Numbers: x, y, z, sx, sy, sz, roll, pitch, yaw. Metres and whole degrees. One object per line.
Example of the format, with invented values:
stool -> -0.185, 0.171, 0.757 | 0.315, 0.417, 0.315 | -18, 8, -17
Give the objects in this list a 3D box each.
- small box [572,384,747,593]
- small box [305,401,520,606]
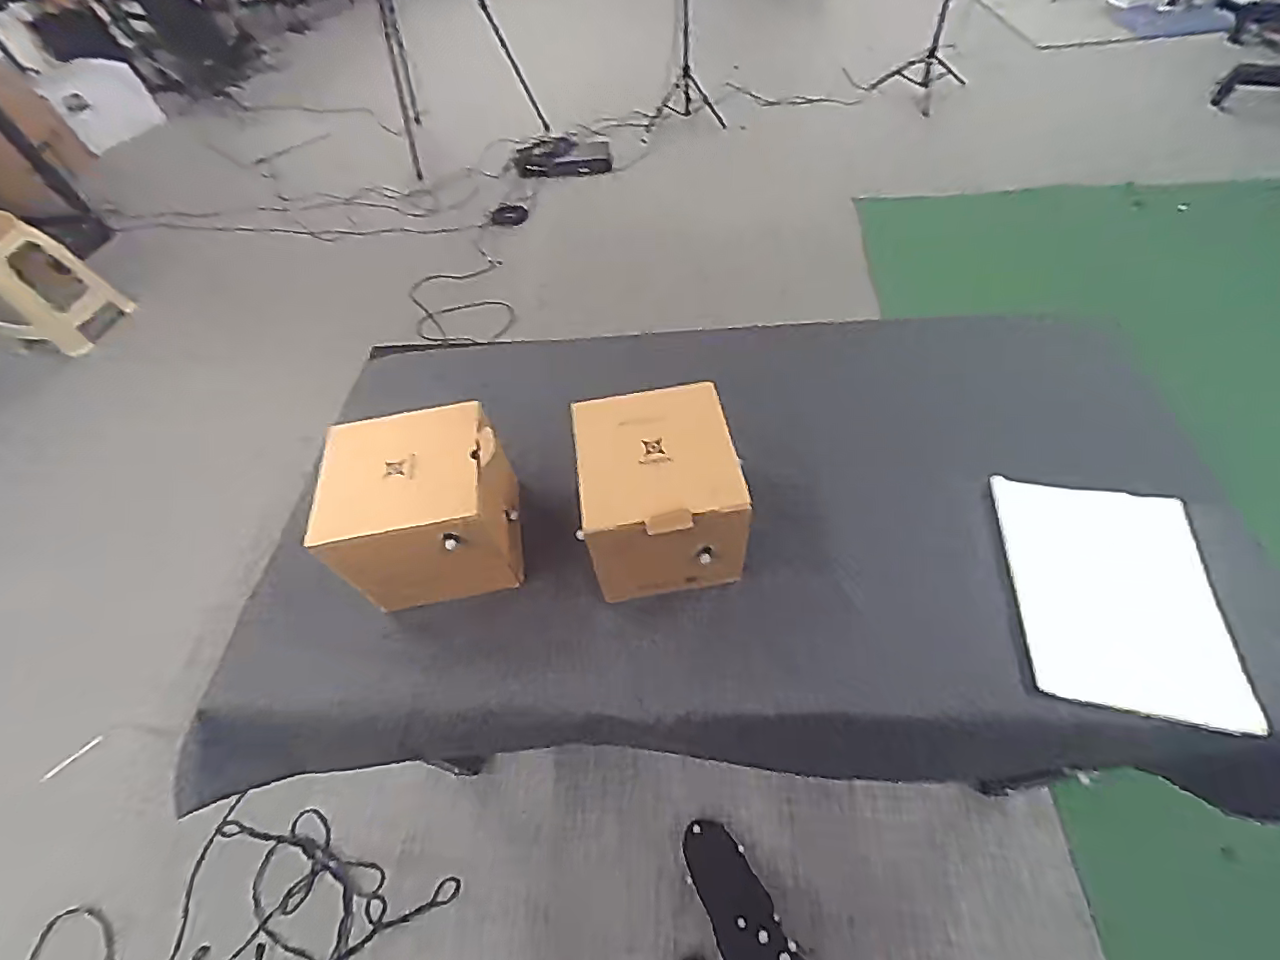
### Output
small box -> 0.019, 0.018, 0.631 | 0.168, 0.176, 0.179 | -9, 52, -2
small box -> -0.252, 0.034, 0.646 | 0.179, 0.176, 0.168 | -10, 53, -3
